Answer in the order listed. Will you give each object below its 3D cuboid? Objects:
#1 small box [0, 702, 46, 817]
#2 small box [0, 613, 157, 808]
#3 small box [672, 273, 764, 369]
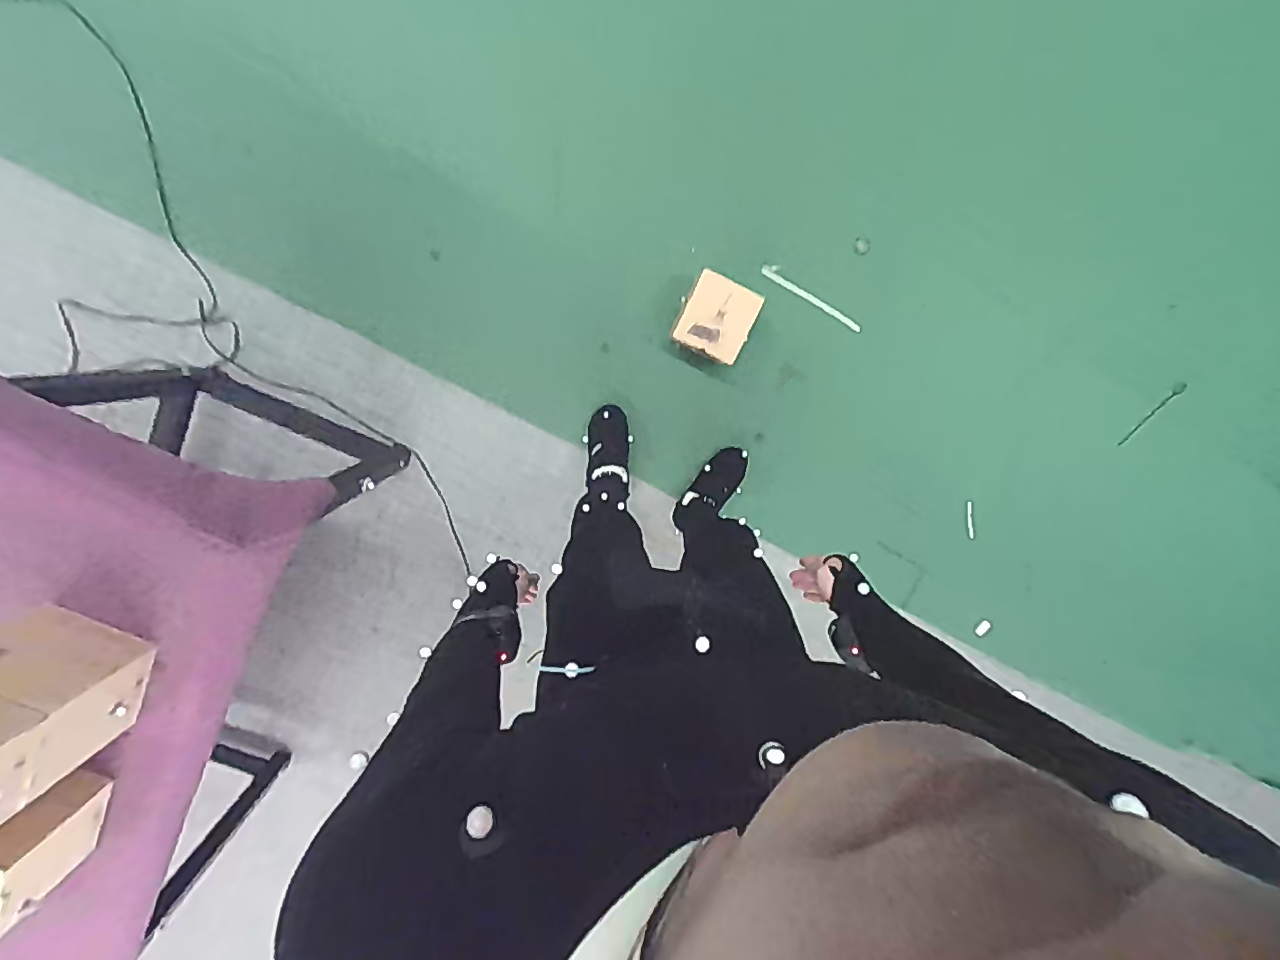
[{"bbox_3d":[-0.873,0.356,0.622,0.179,0.176,0.168,26,102,-7],"label":"small box"},{"bbox_3d":[-0.871,0.317,0.780,0.179,0.176,0.168,26,103,-7],"label":"small box"},{"bbox_3d":[0.188,-0.398,1.376,0.168,0.176,0.179,25,101,-7],"label":"small box"}]
